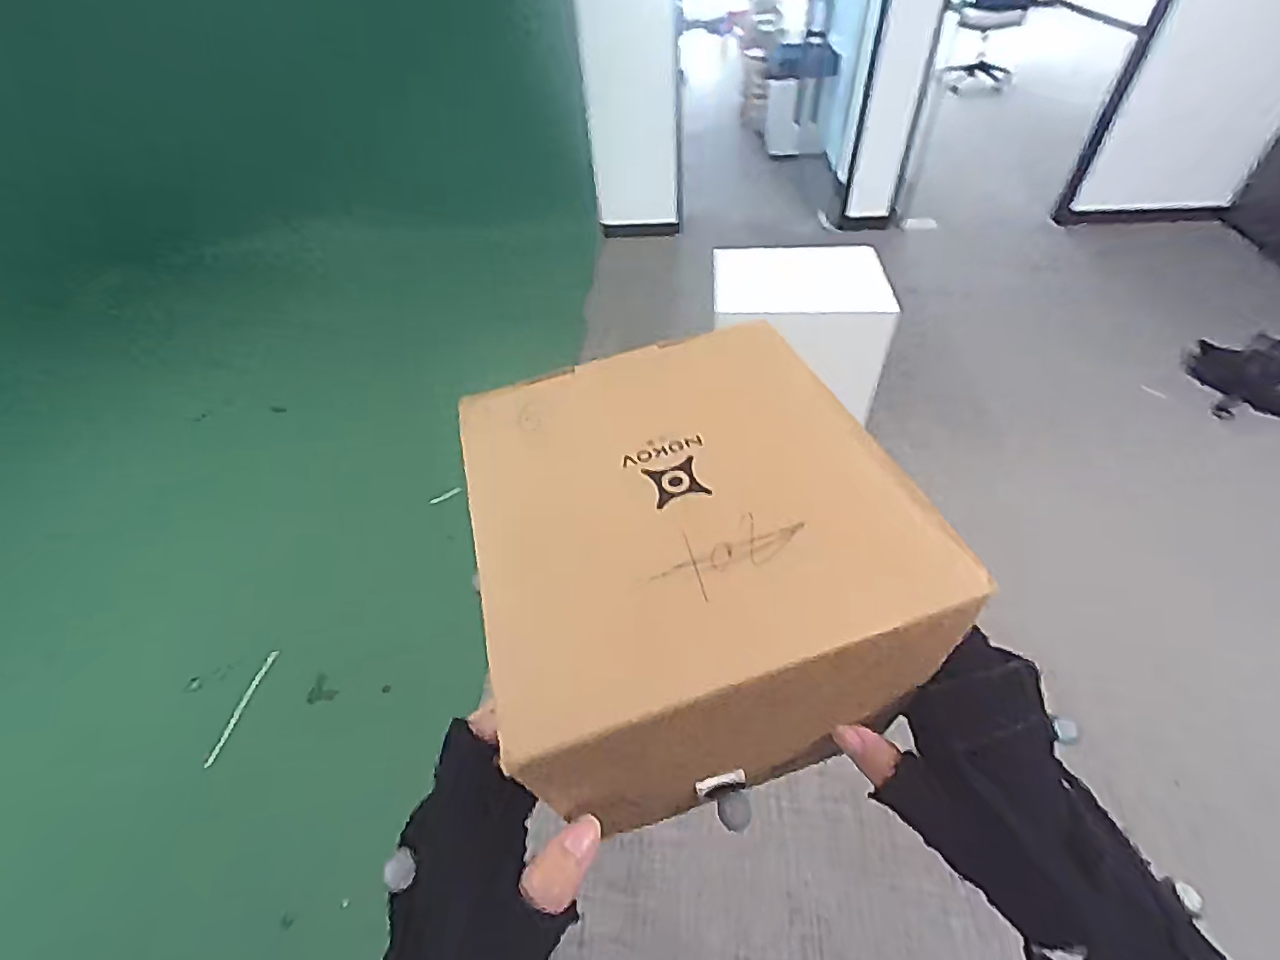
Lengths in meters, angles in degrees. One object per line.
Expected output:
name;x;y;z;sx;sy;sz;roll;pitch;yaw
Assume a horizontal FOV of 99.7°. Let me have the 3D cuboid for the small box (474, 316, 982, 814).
small box;0.025;0.047;0.290;0.168;0.176;0.179;-18;51;-6
